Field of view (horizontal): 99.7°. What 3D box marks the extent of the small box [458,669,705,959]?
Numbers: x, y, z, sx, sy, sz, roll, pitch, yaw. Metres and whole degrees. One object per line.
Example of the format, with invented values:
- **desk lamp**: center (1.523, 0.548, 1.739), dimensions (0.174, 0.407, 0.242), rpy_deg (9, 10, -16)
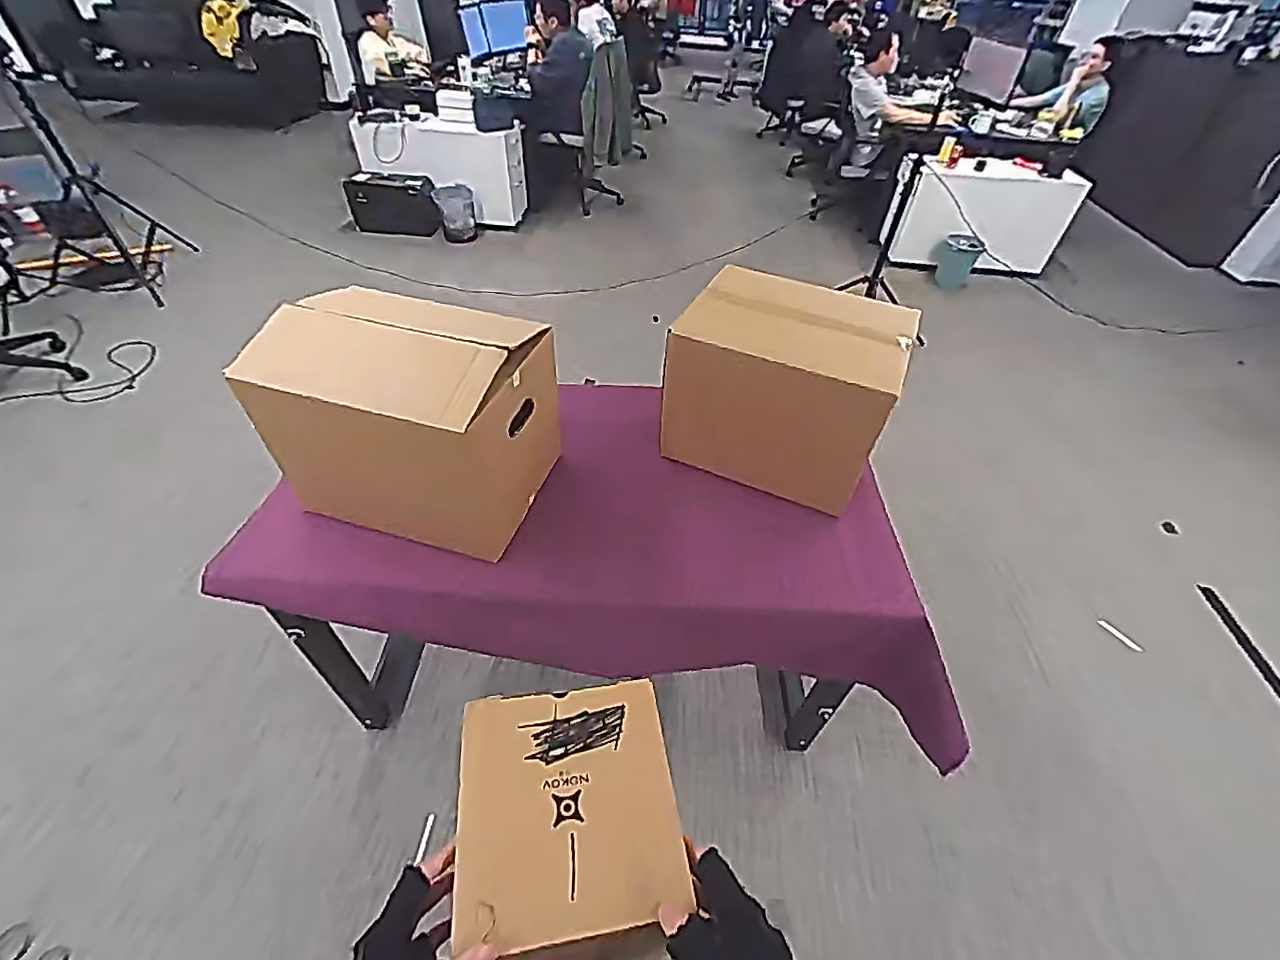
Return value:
- **small box**: center (-0.056, 0.292, 0.466), dimensions (0.168, 0.176, 0.179), rpy_deg (-4, 42, -11)
